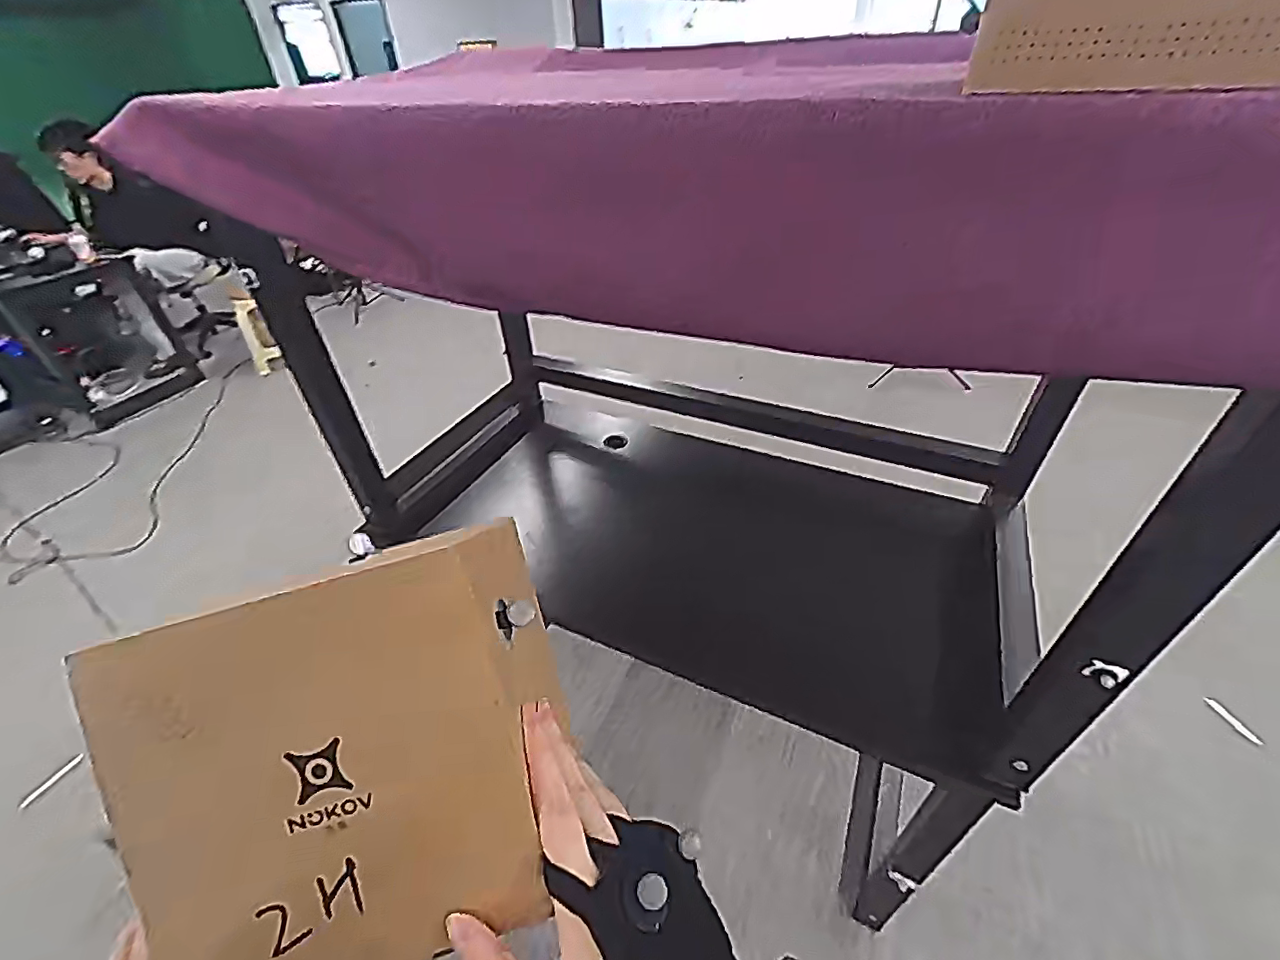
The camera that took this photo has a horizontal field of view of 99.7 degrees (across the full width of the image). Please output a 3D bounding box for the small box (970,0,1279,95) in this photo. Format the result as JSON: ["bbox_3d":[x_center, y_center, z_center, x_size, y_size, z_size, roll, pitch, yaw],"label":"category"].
[{"bbox_3d":[0.322,-0.338,0.315,0.179,0.176,0.168,16,42,24],"label":"small box"}]
